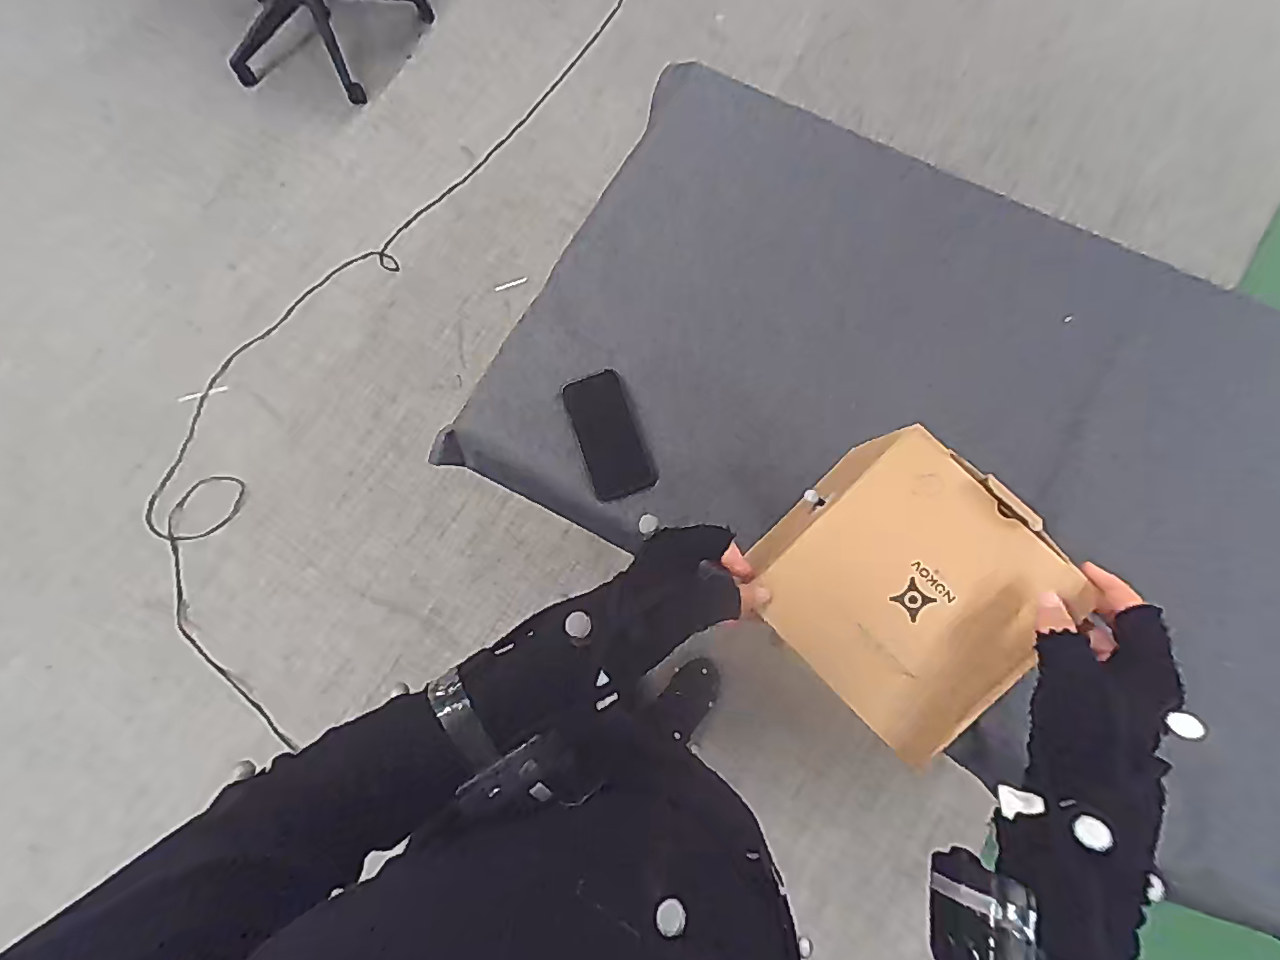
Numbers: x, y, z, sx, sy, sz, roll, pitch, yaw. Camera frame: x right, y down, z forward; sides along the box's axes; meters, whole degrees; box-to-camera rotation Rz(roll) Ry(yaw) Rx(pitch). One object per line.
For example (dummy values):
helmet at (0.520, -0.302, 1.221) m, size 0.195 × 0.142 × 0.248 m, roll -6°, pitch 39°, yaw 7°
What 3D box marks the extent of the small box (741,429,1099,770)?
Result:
small box at (0.198, 0.084, 0.448) m, size 0.179 × 0.176 × 0.168 m, roll -45°, pitch 82°, yaw 4°
